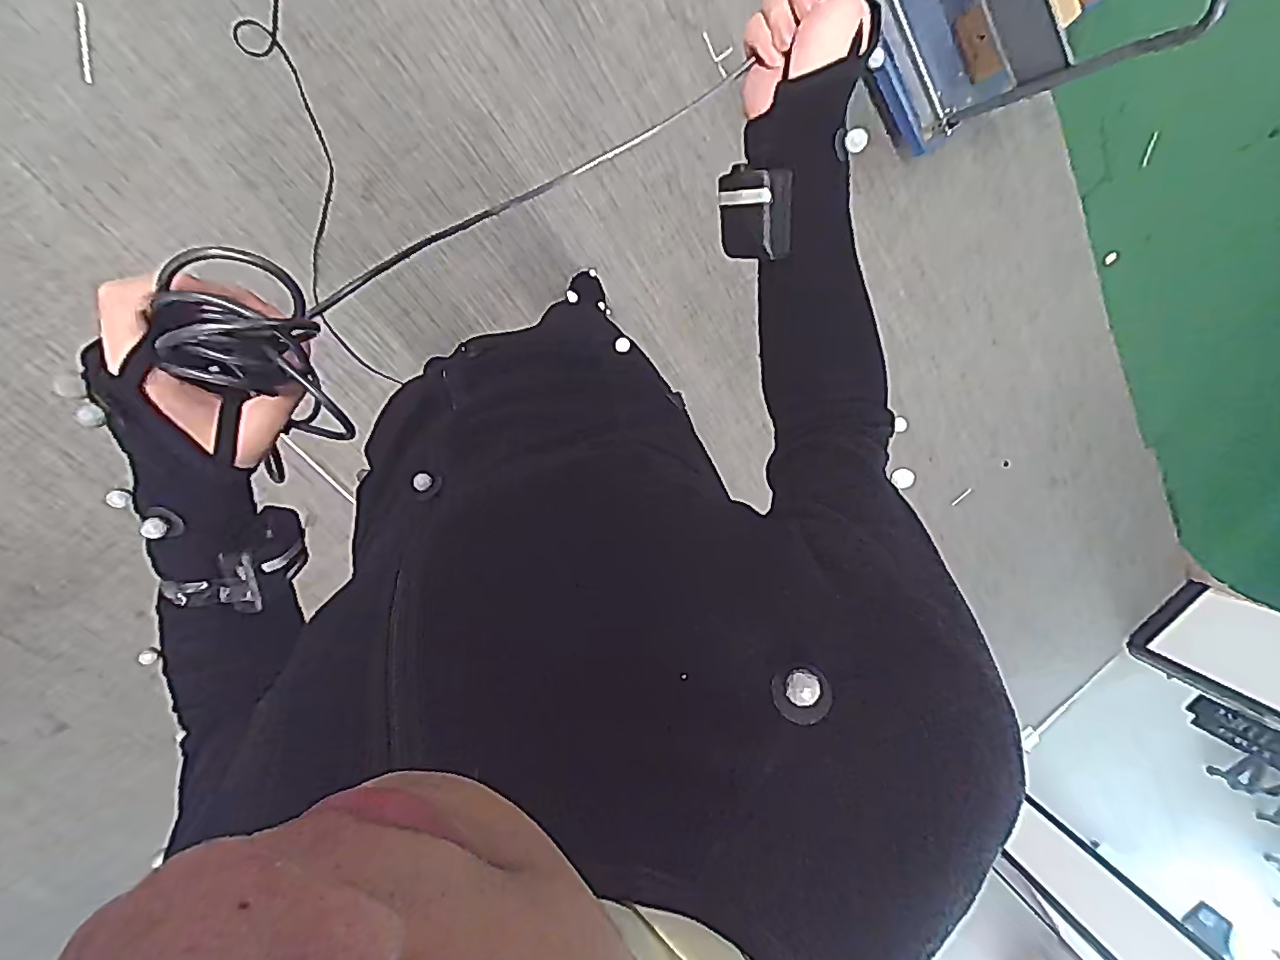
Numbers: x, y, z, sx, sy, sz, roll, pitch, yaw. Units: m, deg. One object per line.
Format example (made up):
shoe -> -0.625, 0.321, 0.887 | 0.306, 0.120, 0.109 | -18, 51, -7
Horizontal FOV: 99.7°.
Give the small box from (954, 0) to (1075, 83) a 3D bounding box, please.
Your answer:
small box -> 0.961, -1.184, 1.396 | 0.179, 0.176, 0.168 | -40, 113, -2
